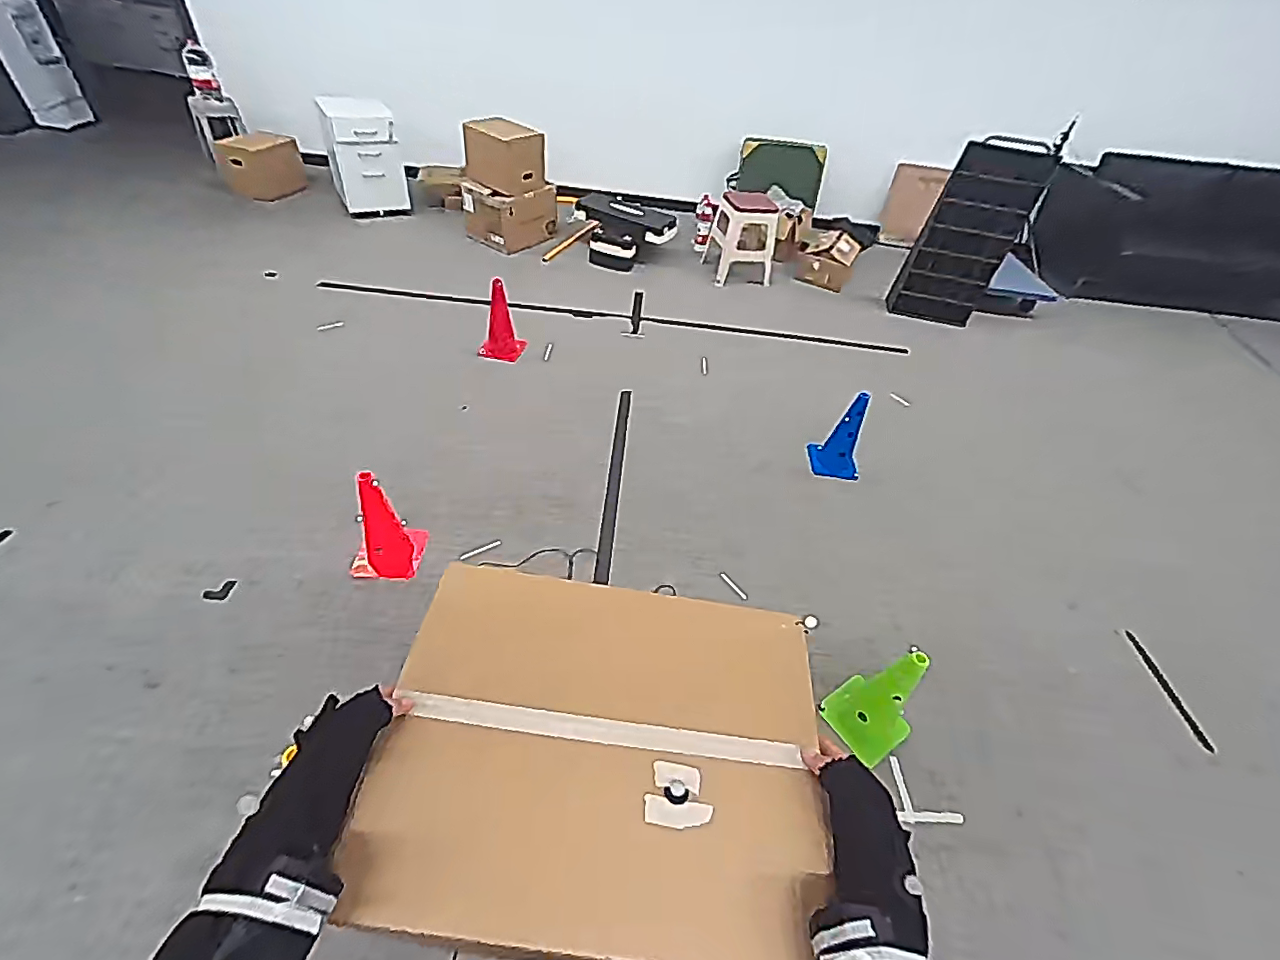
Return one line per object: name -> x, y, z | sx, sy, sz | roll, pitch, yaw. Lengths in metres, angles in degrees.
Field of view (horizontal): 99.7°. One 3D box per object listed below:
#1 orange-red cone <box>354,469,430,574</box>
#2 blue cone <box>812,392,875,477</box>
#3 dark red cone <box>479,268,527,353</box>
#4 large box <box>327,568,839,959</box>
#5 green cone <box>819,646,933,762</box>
orange-red cone -> -0.792, 0.105, 1.650 | 0.198, 0.360, 0.199 | 4, 46, -3
blue cone -> 0.868, -0.202, 2.243 | 0.192, 0.380, 0.193 | 9, 44, -1
dark red cone -> -0.655, -0.809, 2.565 | 0.201, 0.394, 0.202 | 11, 44, 1
large box -> -0.048, 0.337, 0.618 | 0.408, 0.320, 0.320 | 9, 46, -1
green cone -> 0.662, 0.549, 1.422 | 0.202, 0.368, 0.200 | -21, 52, -29
